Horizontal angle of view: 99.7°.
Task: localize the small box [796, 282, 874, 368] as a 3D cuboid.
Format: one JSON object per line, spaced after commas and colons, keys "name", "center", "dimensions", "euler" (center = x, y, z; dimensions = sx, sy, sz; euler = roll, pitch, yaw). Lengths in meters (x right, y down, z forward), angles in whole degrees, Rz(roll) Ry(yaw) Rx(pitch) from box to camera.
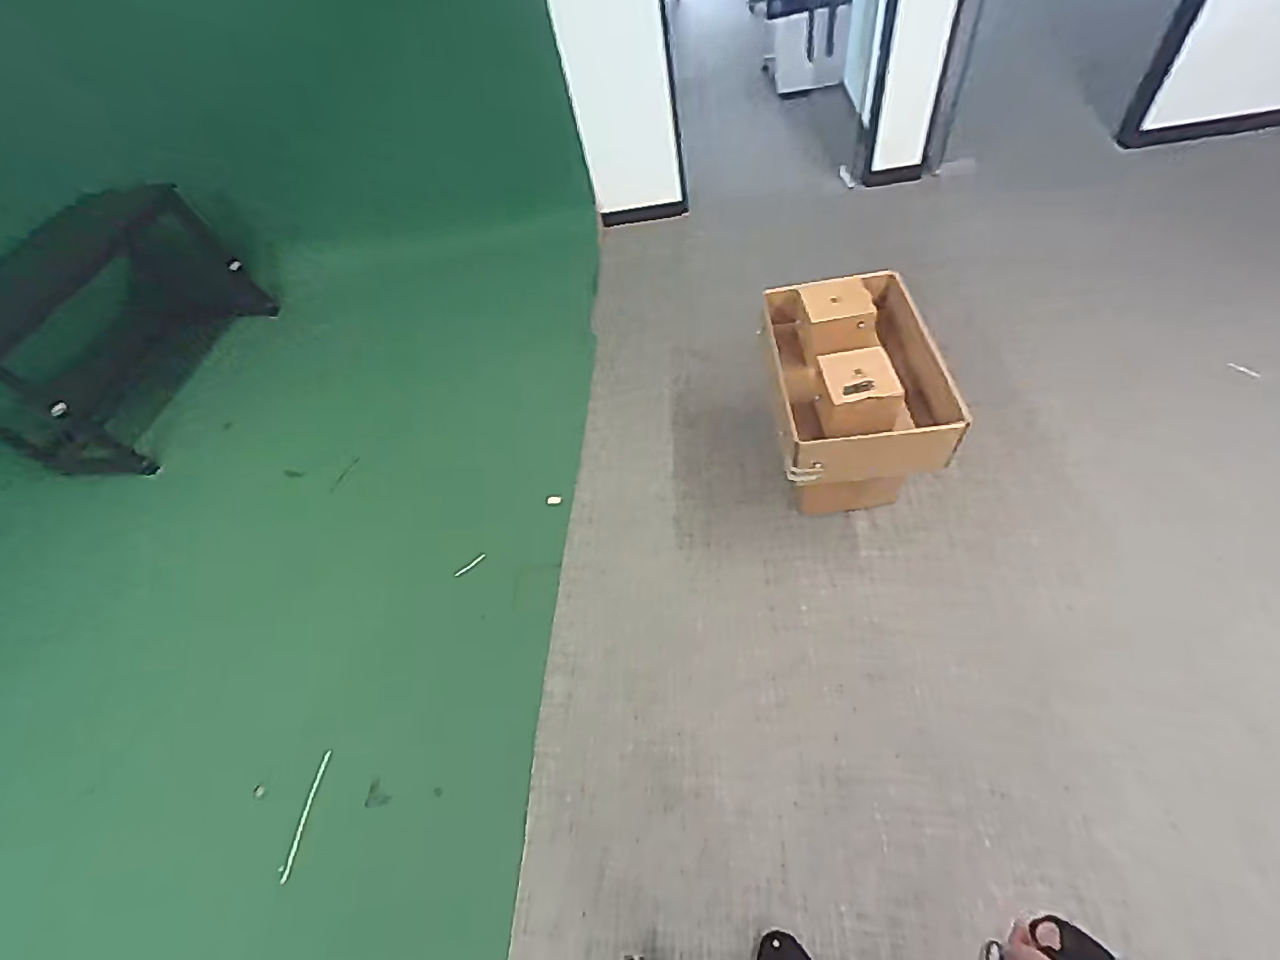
{"name": "small box", "center": [0.559, -0.446, 1.578], "dimensions": [0.179, 0.176, 0.168], "euler": [-9, 52, 6]}
